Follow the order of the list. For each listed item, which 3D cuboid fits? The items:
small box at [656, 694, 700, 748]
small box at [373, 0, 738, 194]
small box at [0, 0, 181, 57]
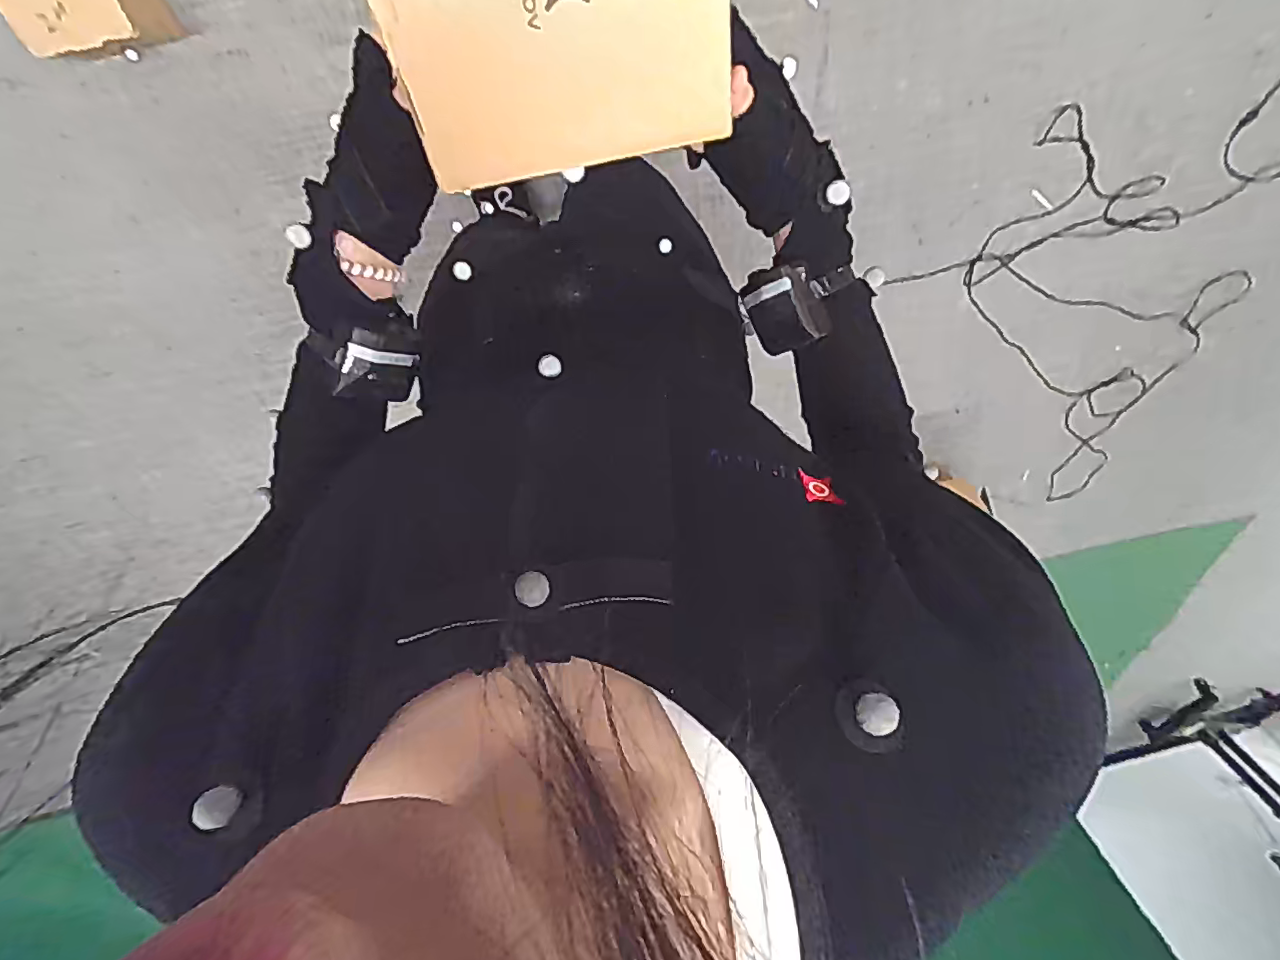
[{"bbox_3d":[0.185,1.197,2.690,0.179,0.176,0.168,-16,130,-1],"label":"small box"},{"bbox_3d":[-0.053,-0.293,0.310,0.179,0.176,0.168,-13,135,-1],"label":"small box"},{"bbox_3d":[-0.887,-0.784,0.842,0.168,0.176,0.179,-14,130,-1],"label":"small box"}]
